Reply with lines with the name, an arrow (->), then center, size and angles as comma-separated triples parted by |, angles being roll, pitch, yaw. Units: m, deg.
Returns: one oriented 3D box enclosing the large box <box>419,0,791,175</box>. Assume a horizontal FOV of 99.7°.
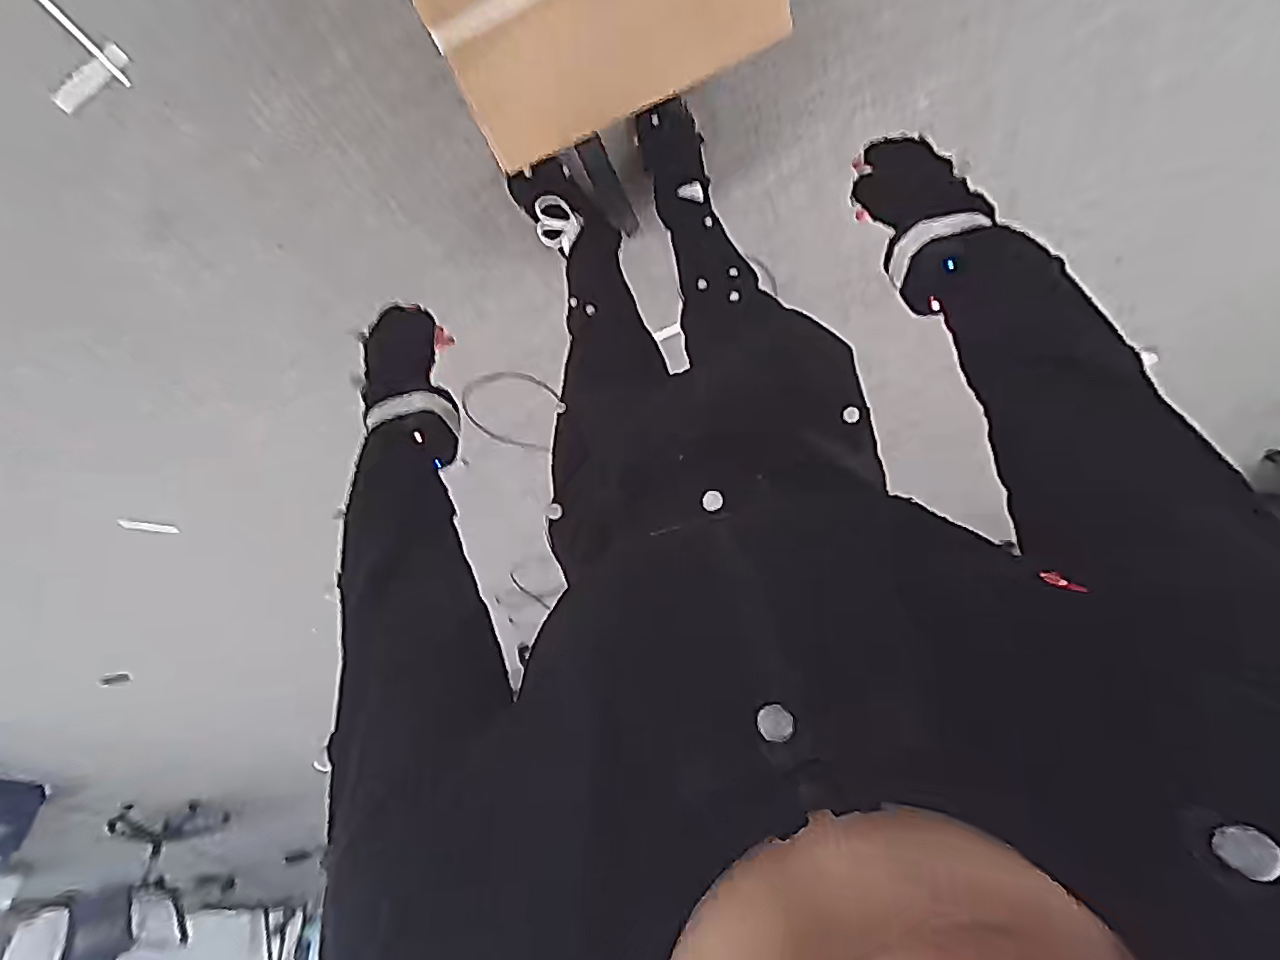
large box -> -0.067, -0.682, 0.698 | 0.408, 0.320, 0.320 | -19, 139, 11
